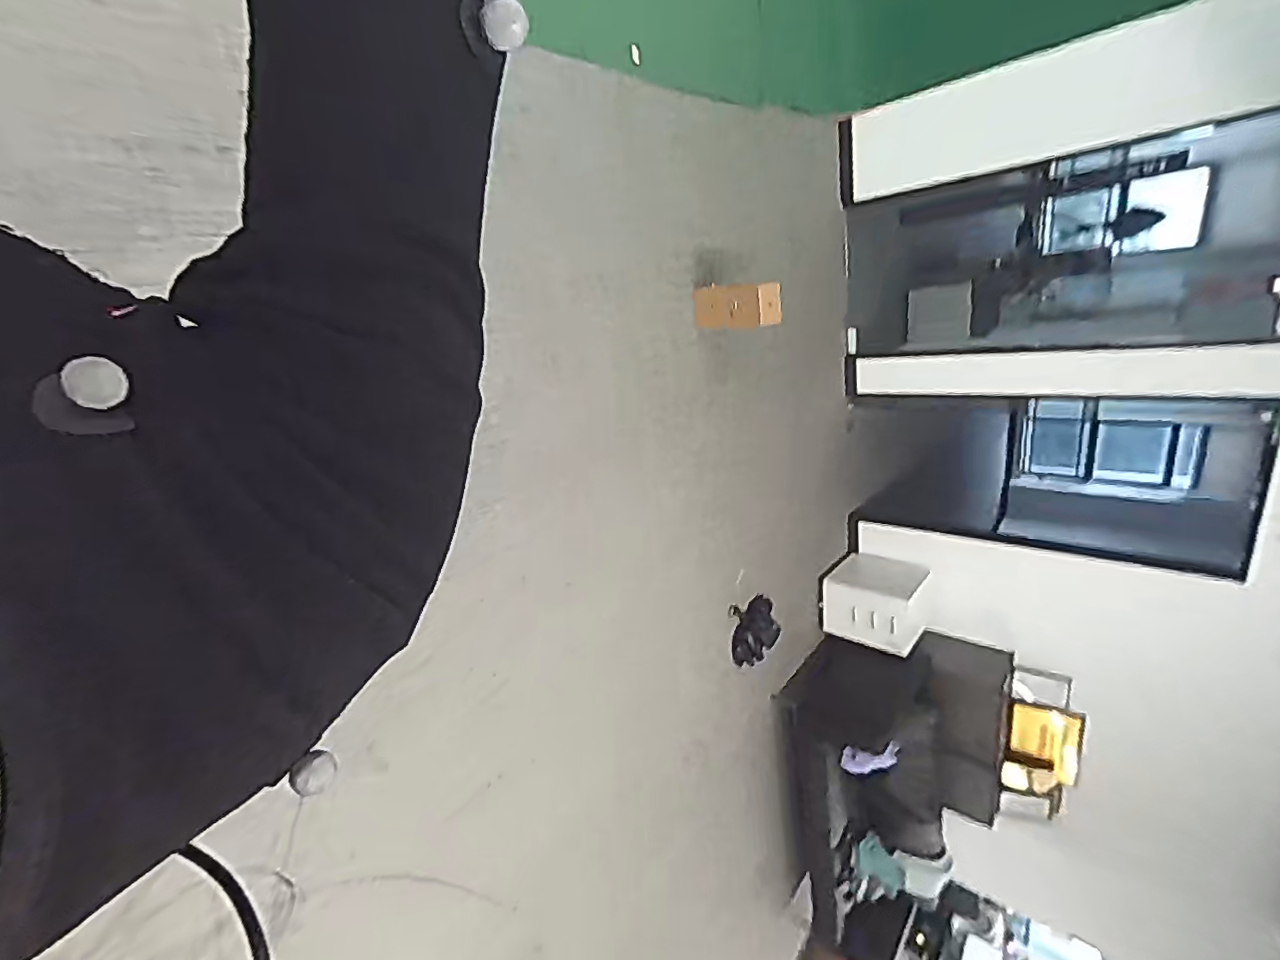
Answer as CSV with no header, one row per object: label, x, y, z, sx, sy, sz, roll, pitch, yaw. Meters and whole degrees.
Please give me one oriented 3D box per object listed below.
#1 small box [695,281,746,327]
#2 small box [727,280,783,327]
small box,0.364,-0.782,2.408,0.168,0.176,0.179,-24,112,-44
small box,0.490,-0.755,2.311,0.179,0.176,0.168,-25,112,-42
